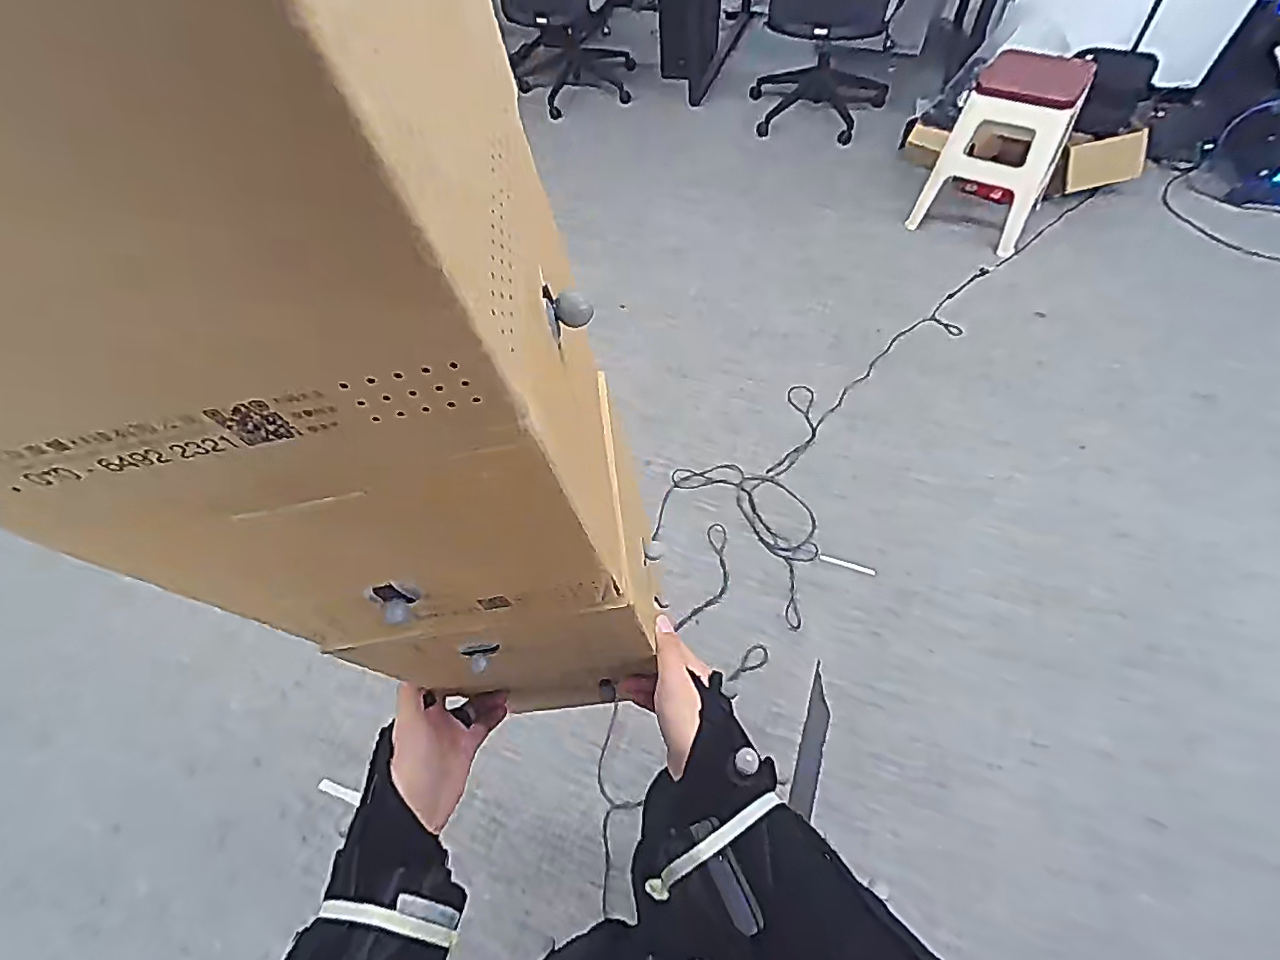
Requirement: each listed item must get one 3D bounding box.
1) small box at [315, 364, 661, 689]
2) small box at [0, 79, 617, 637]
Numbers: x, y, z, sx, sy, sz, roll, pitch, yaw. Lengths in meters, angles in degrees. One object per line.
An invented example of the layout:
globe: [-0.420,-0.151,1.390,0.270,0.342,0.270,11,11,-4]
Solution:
small box: [-0.087,0.045,0.392,0.179,0.176,0.168,-9,60,2]
small box: [-0.110,-0.042,0.257,0.168,0.176,0.179,-11,60,2]
